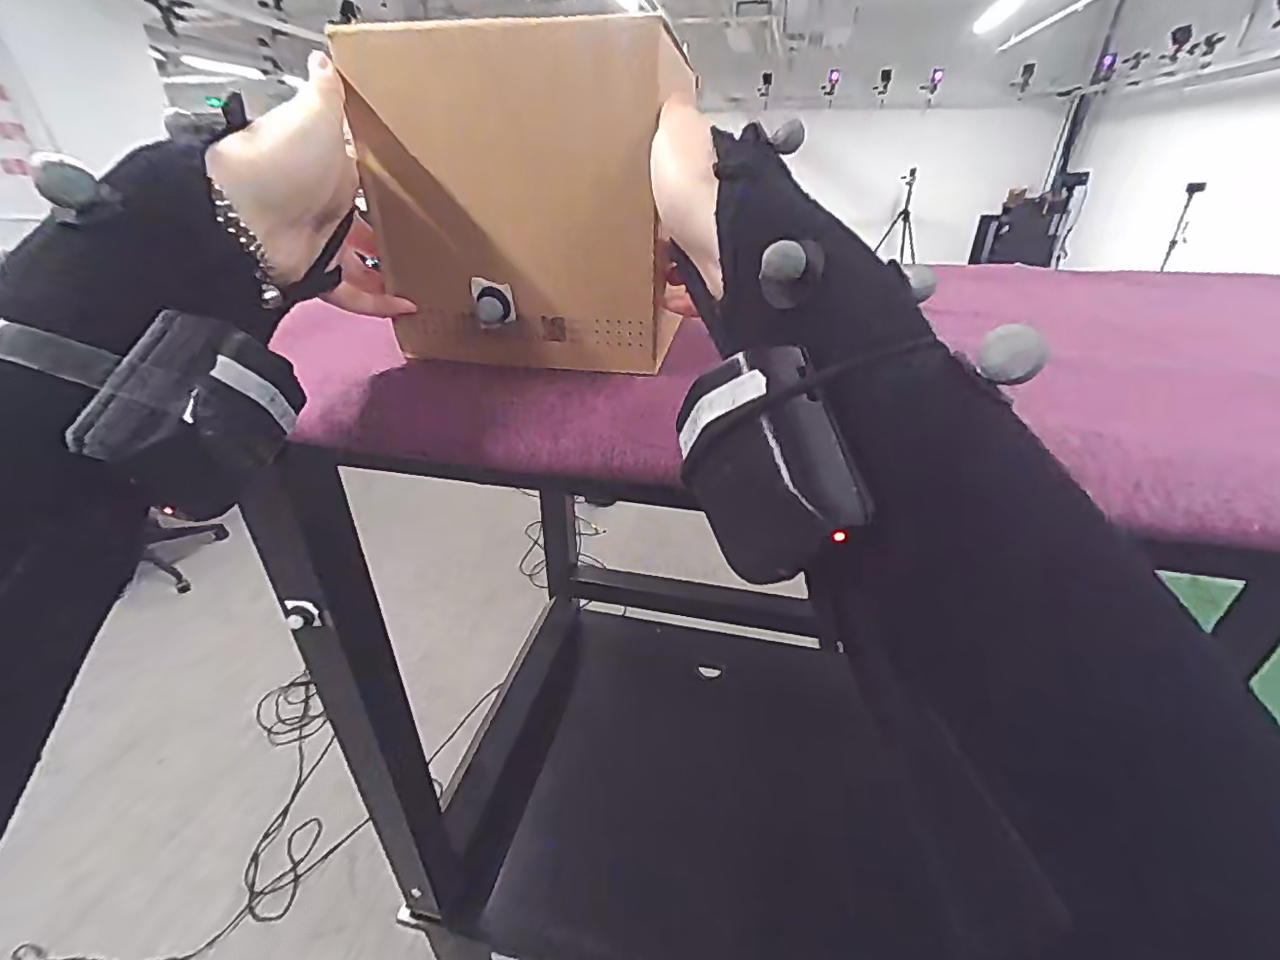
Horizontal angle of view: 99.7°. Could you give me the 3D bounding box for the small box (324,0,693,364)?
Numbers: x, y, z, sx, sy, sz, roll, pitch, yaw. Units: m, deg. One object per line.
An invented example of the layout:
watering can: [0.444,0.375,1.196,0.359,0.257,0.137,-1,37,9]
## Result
small box: [-0.059,-0.186,0.355,0.168,0.176,0.179,5,30,9]
